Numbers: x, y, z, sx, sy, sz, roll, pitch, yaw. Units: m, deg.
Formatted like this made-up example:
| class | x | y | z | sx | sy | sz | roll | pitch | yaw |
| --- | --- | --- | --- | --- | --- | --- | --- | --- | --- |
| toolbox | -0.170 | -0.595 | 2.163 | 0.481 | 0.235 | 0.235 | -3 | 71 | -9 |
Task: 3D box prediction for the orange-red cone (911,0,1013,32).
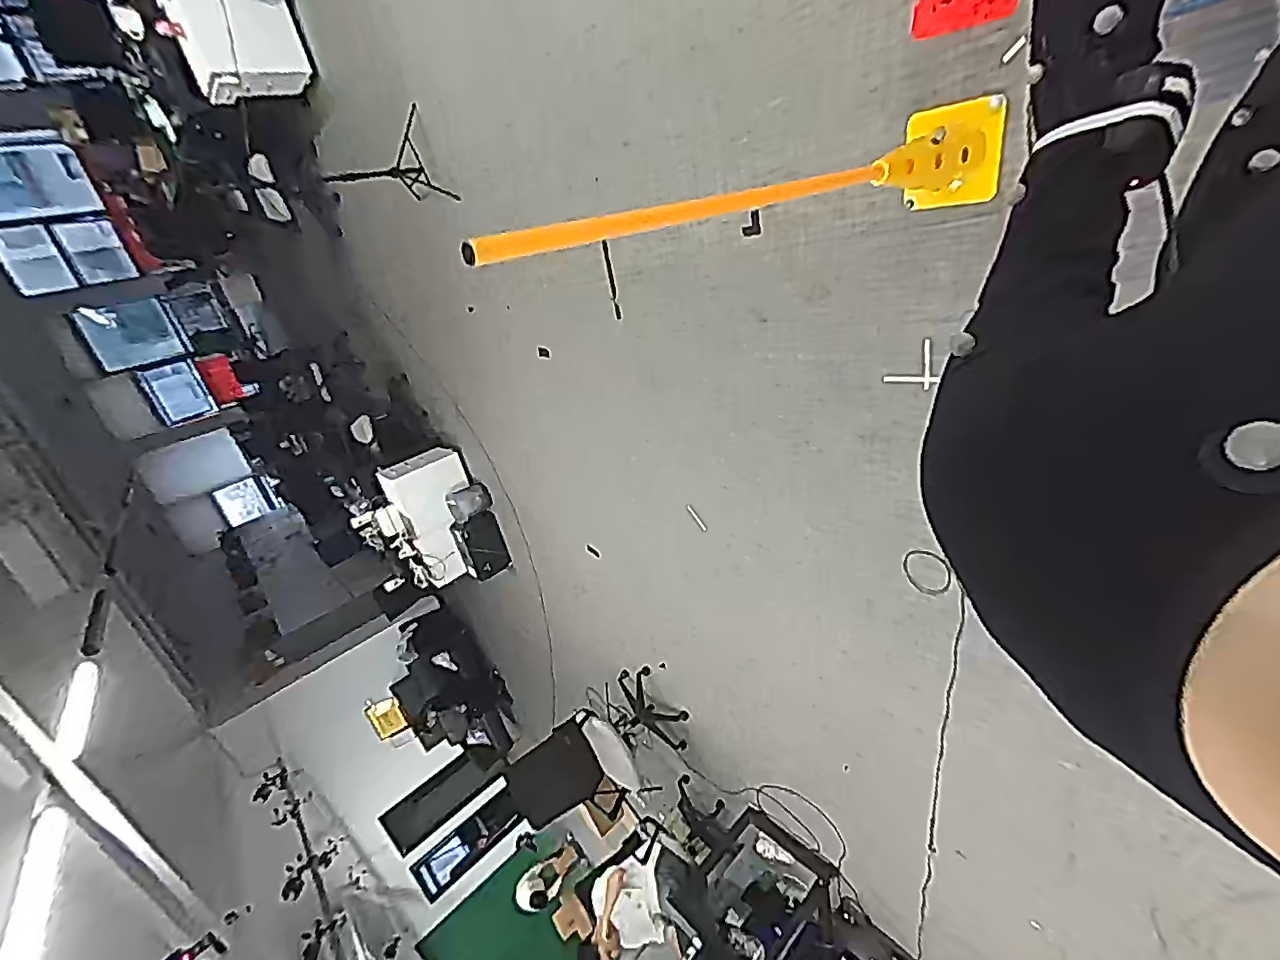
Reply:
| class | x | y | z | sx | sy | sz | roll | pitch | yaw |
| --- | --- | --- | --- | --- | --- | --- | --- | --- | --- |
| orange-red cone | 0.521 | -0.949 | 0.963 | 0.198 | 0.360 | 0.199 | 23 | 131 | 41 |
